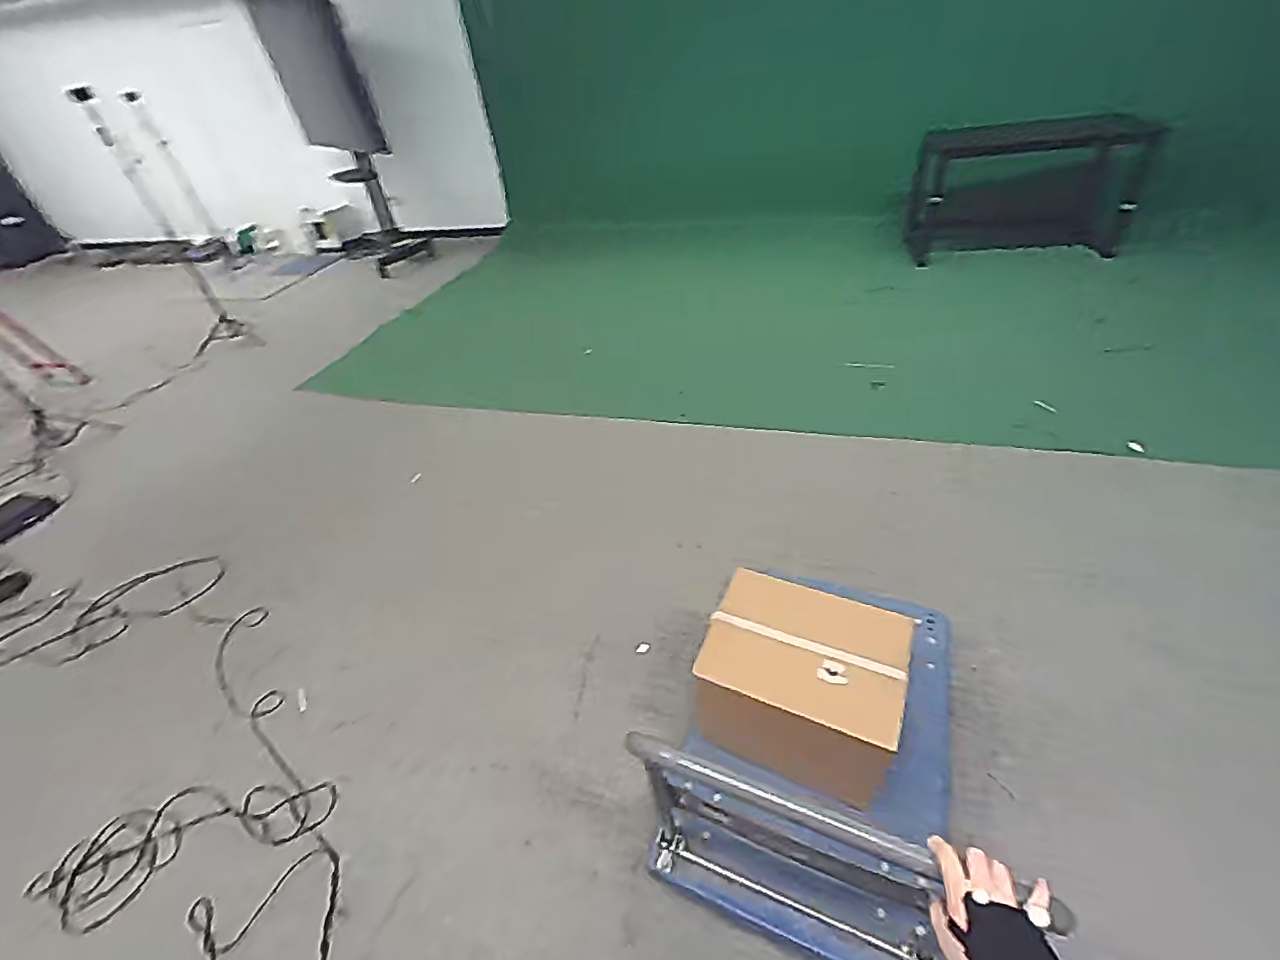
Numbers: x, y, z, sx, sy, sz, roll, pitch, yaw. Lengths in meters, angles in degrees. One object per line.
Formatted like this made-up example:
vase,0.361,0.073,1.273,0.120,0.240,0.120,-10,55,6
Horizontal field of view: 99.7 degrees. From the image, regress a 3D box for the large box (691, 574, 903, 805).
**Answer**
large box,0.359,0.480,1.277,0.408,0.320,0.320,14,45,22
